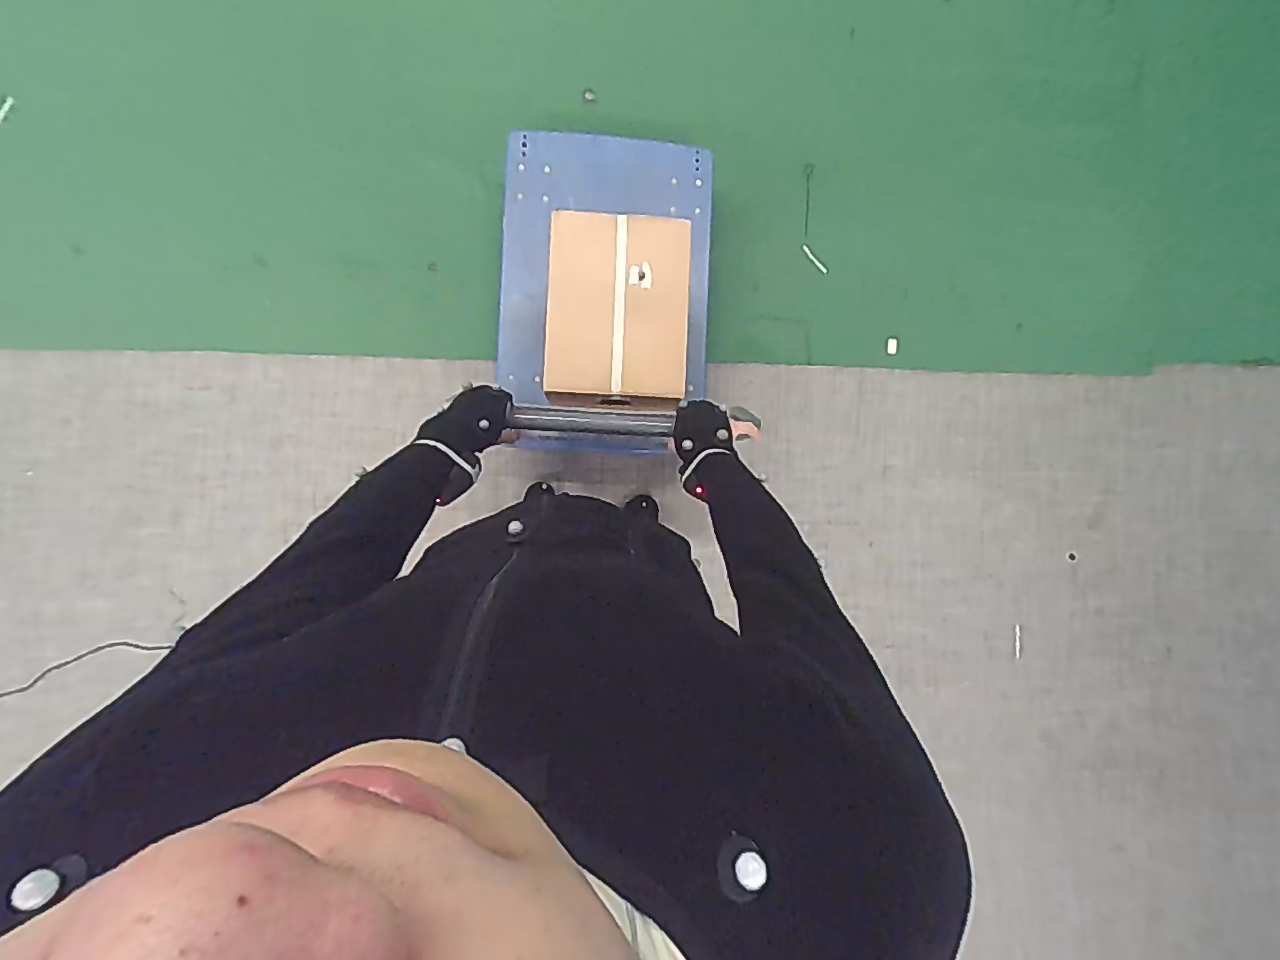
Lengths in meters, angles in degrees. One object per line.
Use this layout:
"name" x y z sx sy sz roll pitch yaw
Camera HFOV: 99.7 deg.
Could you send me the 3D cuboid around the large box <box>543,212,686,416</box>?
"large box" -0.064 -0.380 1.338 0.320 0.320 0.408 2 87 -6
